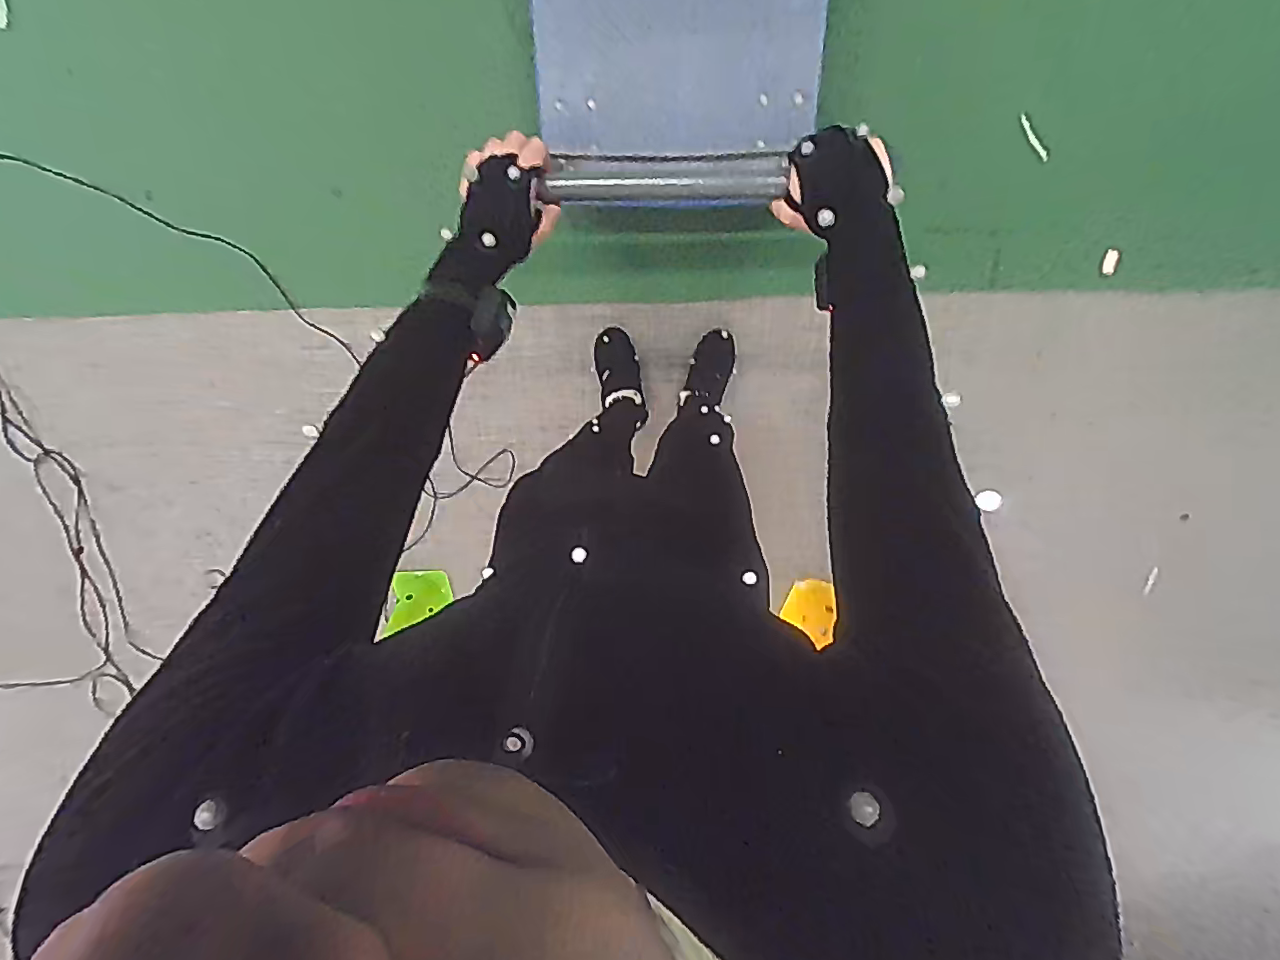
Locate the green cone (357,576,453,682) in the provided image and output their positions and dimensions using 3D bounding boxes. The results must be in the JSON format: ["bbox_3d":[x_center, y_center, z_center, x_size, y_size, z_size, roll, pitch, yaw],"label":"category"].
[{"bbox_3d":[-0.766,0.483,1.697,0.202,0.368,0.200,-3,114,6],"label":"green cone"}]
